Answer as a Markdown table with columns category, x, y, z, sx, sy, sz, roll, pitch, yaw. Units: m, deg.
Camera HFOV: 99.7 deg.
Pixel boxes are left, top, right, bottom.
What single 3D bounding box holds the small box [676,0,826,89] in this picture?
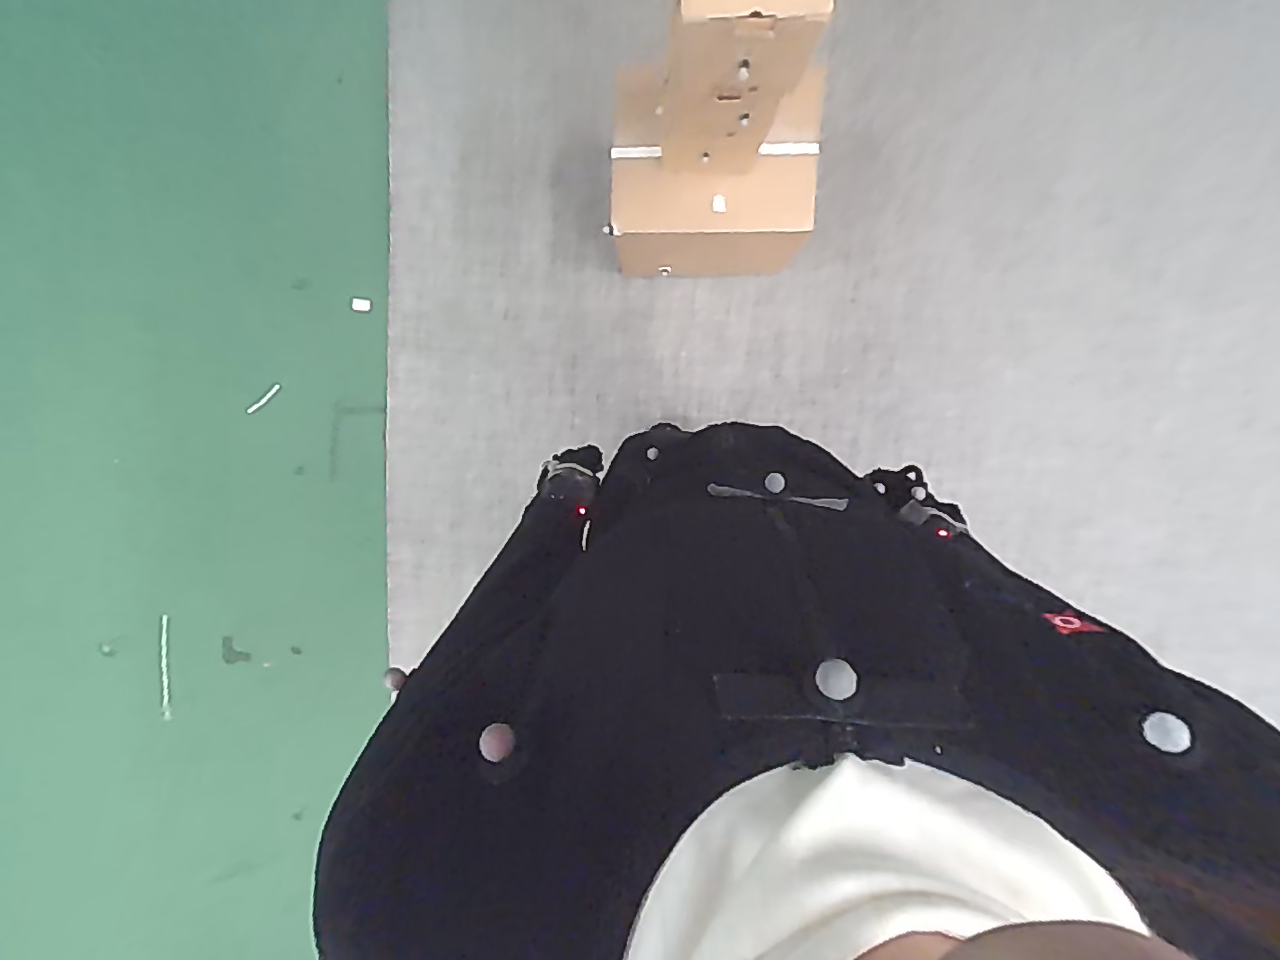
| category | x | y | z | sx | sy | sz | roll | pitch | yaw |
| --- | --- | --- | --- | --- | --- | --- | --- | --- | --- |
| small box | 0.130 | -0.608 | 0.656 | 0.168 | 0.176 | 0.179 | 2 | 102 | 3 |

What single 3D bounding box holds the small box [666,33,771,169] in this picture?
| category | x | y | z | sx | sy | sz | roll | pitch | yaw |
| --- | --- | --- | --- | --- | --- | --- | --- | --- | --- |
| small box | 0.136 | -0.679 | 0.974 | 0.179 | 0.176 | 0.168 | 0 | 102 | 3 |

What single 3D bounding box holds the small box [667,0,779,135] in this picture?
| category | x | y | z | sx | sy | sz | roll | pitch | yaw |
| --- | --- | --- | --- | --- | --- | --- | --- | --- | --- |
| small box | 0.126 | -0.647 | 0.815 | 0.168 | 0.176 | 0.179 | 1 | 100 | 2 |
